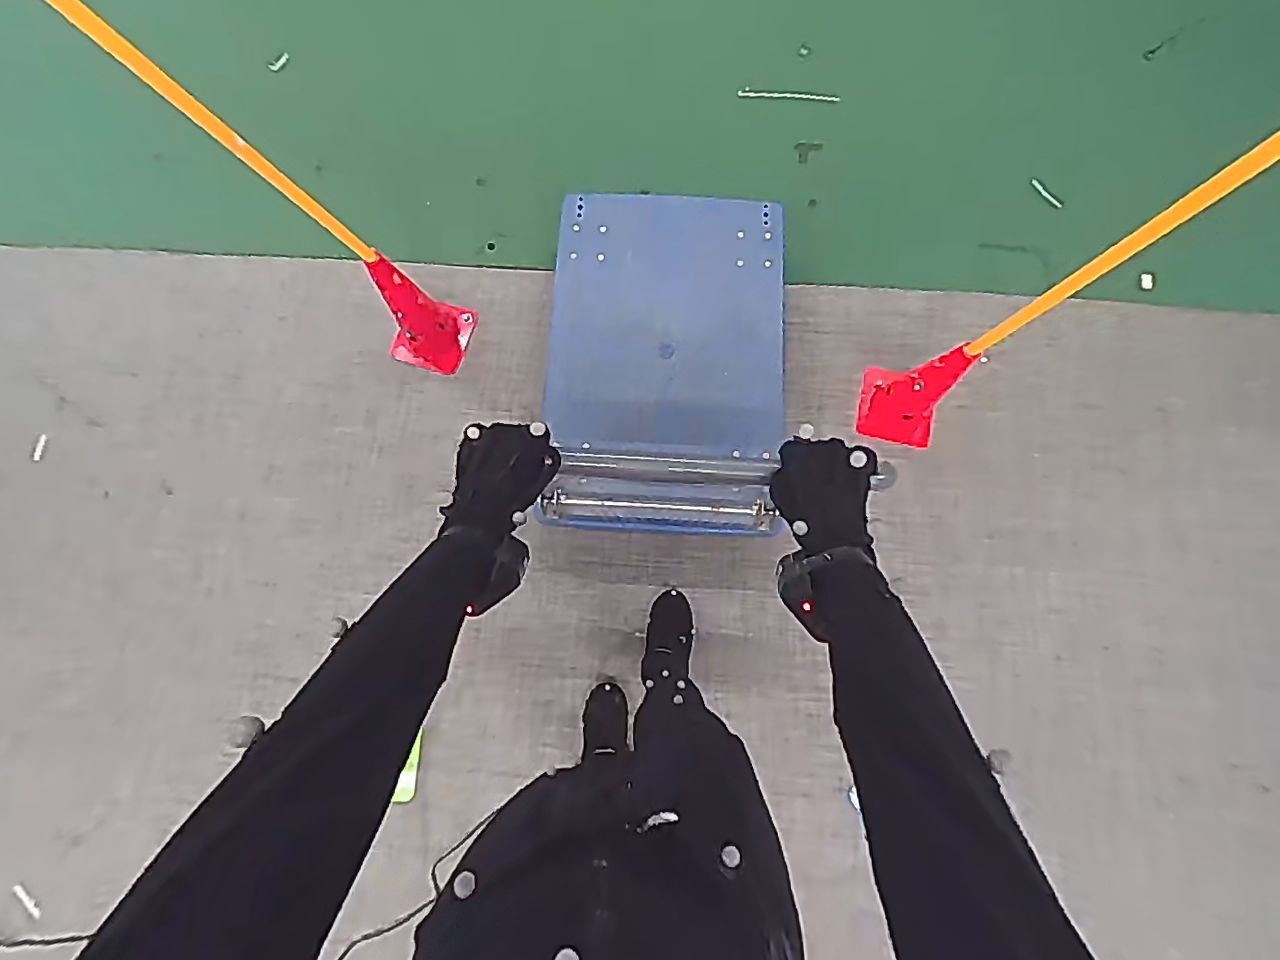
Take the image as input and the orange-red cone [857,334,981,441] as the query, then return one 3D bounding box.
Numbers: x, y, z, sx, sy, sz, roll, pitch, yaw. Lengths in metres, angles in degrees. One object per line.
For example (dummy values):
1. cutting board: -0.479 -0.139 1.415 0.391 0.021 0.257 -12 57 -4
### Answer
1. orange-red cone: 0.689 -0.246 1.281 0.198 0.360 0.199 14 80 5
